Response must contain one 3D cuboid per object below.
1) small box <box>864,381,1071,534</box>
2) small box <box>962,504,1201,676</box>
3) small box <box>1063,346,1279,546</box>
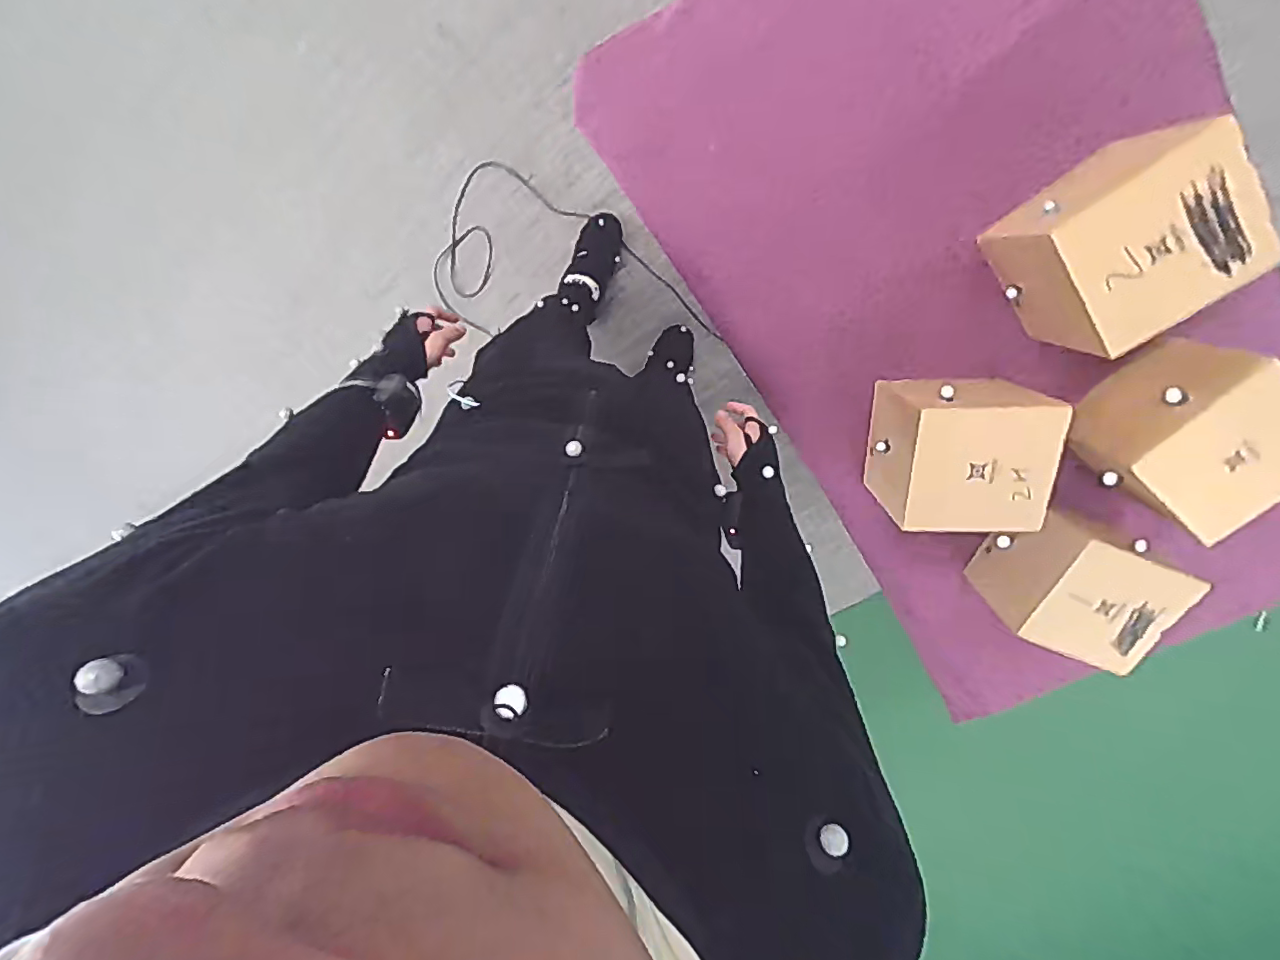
[{"bbox_3d":[0.427,-0.038,0.743,0.179,0.176,0.168,0,112,4],"label":"small box"},{"bbox_3d":[0.632,0.149,0.803,0.179,0.176,0.168,21,112,-3],"label":"small box"},{"bbox_3d":[0.712,-0.052,0.715,0.168,0.176,0.179,39,111,-10],"label":"small box"}]
